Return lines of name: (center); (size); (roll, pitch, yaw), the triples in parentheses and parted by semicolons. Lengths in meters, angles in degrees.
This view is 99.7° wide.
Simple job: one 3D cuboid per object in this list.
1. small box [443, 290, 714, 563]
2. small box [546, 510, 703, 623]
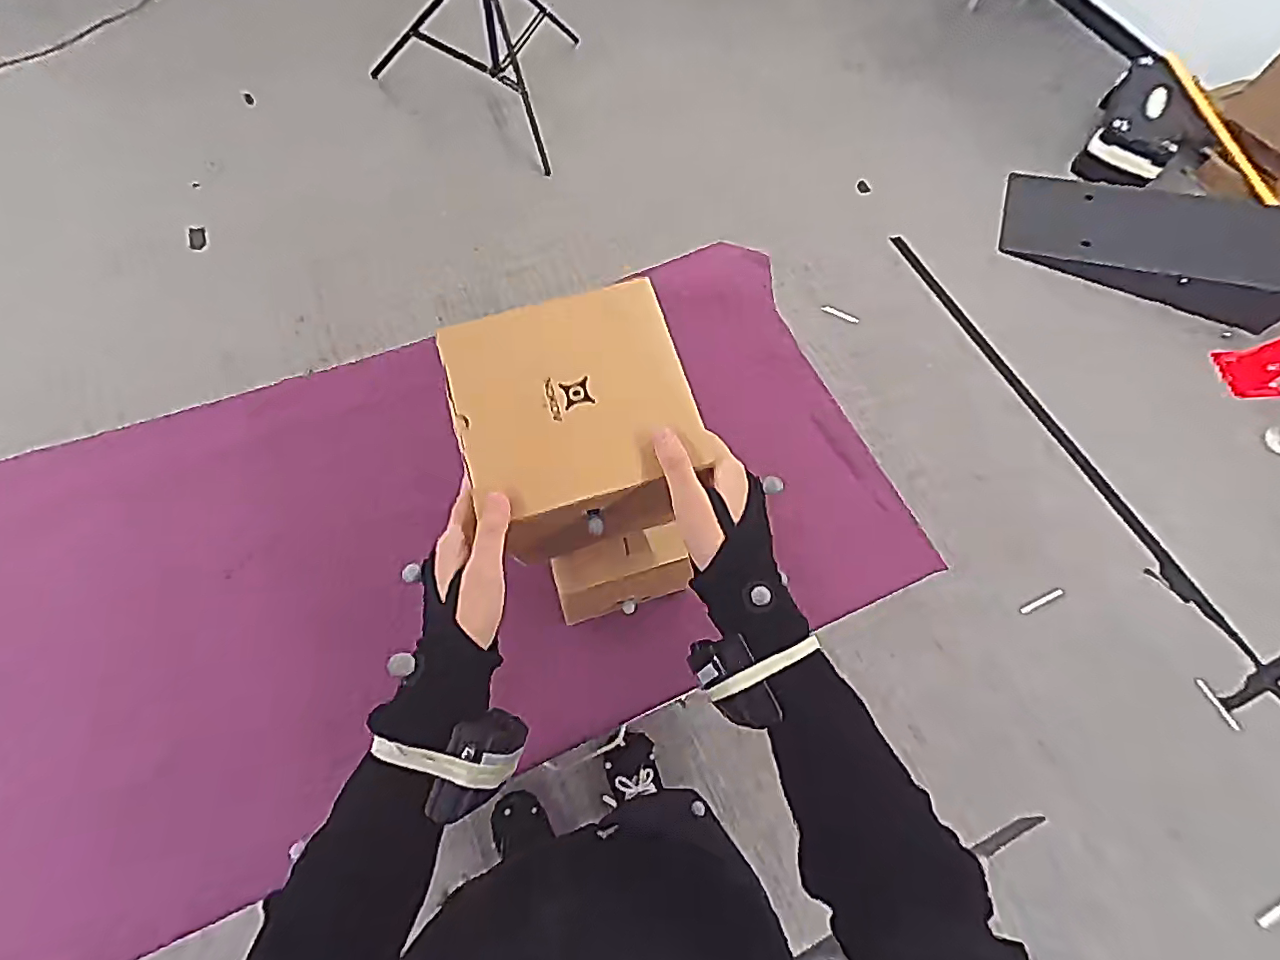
small box: (-0.051, -0.035, 0.488); (0.179, 0.176, 0.168); (-17, 74, -4)
small box: (-0.040, 0.059, 0.669); (0.168, 0.176, 0.179); (-15, 68, -11)
